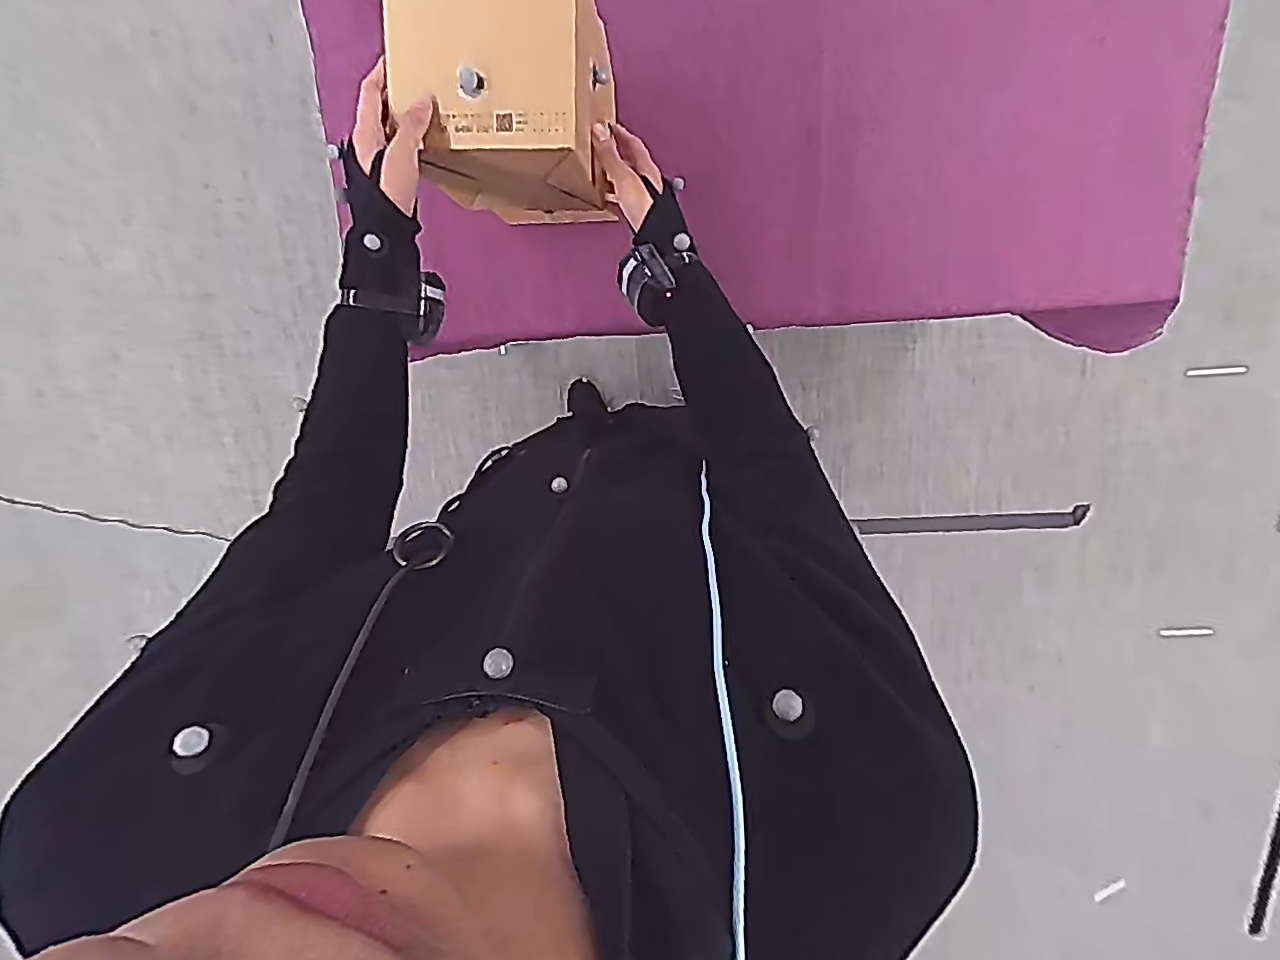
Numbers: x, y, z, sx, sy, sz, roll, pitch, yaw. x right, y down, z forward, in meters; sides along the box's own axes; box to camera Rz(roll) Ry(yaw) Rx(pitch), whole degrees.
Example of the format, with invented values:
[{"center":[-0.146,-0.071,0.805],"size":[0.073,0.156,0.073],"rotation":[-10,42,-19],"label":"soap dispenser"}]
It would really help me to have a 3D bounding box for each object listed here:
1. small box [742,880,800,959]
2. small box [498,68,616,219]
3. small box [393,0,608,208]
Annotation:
[{"center":[0.460,1.569,1.927],"size":[0.179,0.176,0.168],"rotation":[-5,103,2],"label":"small box"},{"center":[-0.119,-0.445,0.699],"size":[0.168,0.176,0.179],"rotation":[0,104,2],"label":"small box"},{"center":[-0.127,-0.380,0.533],"size":[0.168,0.179,0.176],"rotation":[2,102,4],"label":"small box"}]
